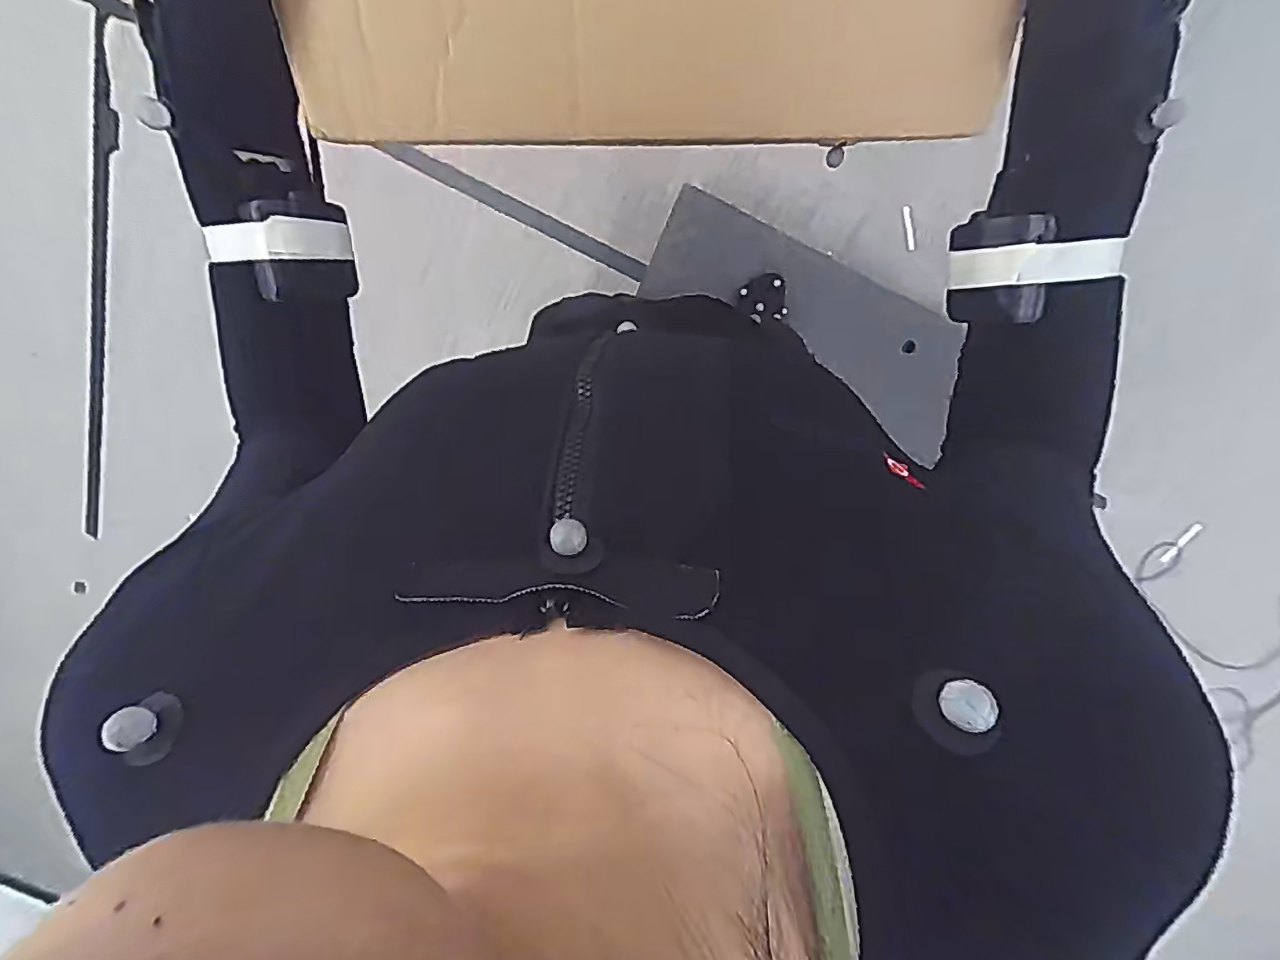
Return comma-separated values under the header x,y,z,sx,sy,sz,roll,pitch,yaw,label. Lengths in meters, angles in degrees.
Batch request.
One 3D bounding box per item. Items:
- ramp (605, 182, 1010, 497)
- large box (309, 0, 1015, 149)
x,y,z,sx,sy,sz,roll,pitch,yaw,label
0.454,-0.323,1.442,0.991,0.206,0.509,23,111,-2,ramp
0.015,-0.422,0.380,0.408,0.320,0.320,1,122,2,large box
